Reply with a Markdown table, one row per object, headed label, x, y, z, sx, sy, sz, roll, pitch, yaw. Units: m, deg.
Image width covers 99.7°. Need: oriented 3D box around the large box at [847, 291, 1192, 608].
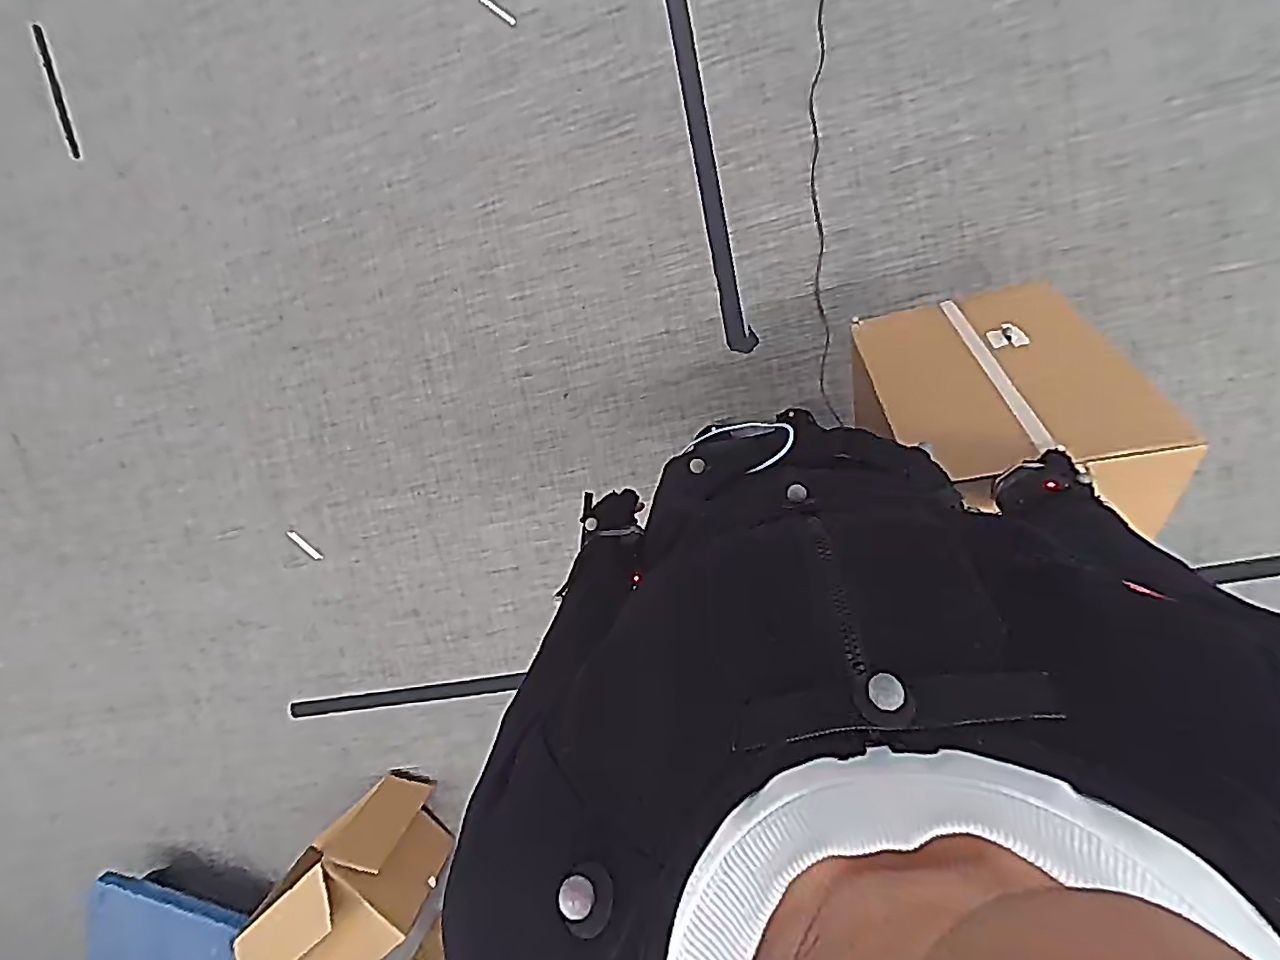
| label | x | y | z | sx | sy | sz | roll | pitch | yaw |
| --- | --- | --- | --- | --- | --- | --- | --- | --- | --- |
| large box | 0.561 | -0.051 | 0.909 | 0.320 | 0.408 | 0.320 | -10 | 133 | 13 |
